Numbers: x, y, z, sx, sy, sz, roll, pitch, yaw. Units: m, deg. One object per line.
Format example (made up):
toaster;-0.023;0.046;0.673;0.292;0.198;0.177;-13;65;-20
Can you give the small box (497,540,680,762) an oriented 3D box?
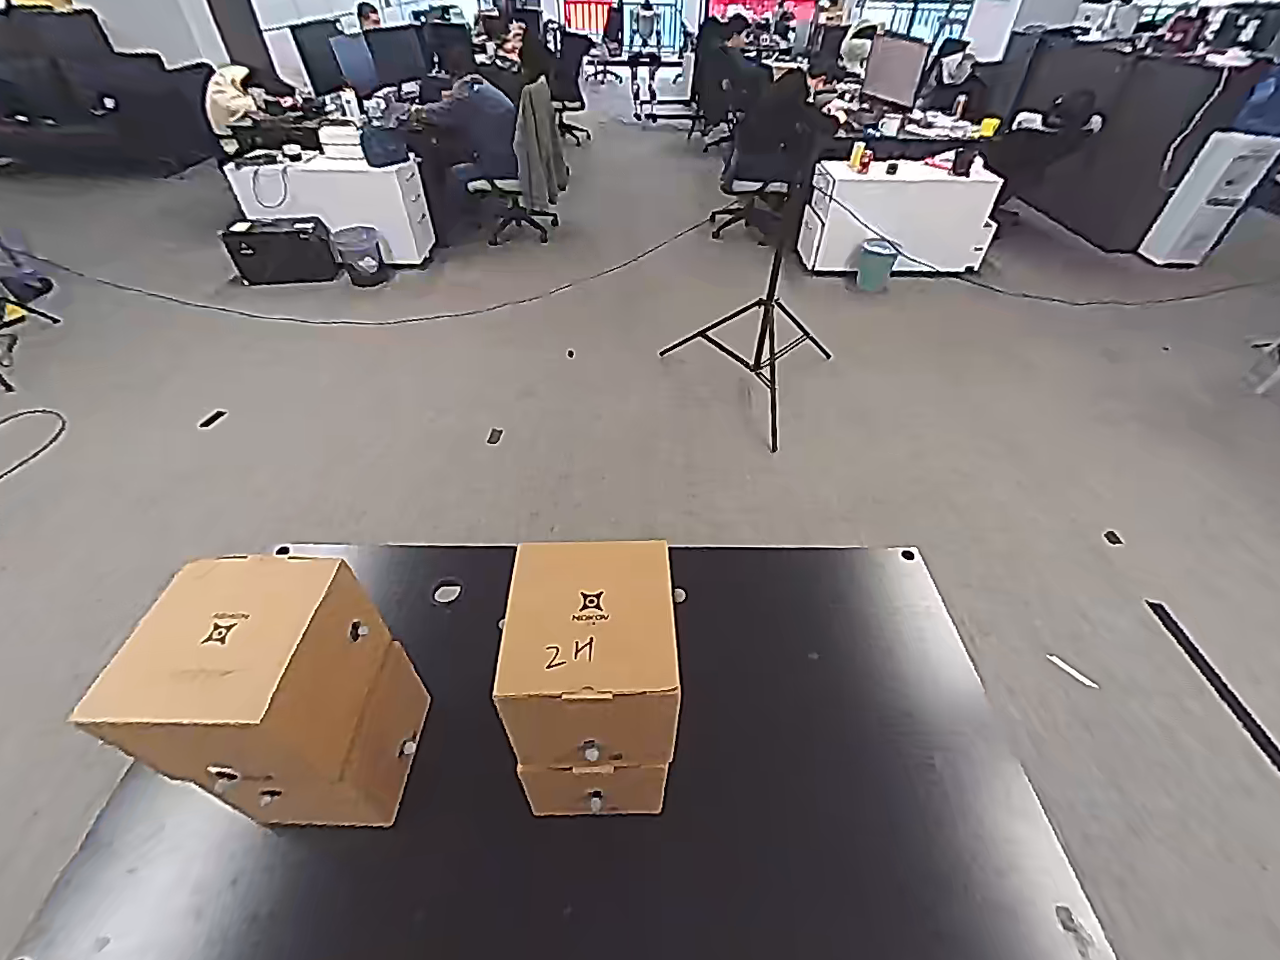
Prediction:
small box;-0.049;0.185;0.593;0.168;0.176;0.179;-1;43;-1

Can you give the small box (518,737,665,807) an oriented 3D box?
small box;-0.054;0.309;0.703;0.168;0.176;0.179;-1;44;-2

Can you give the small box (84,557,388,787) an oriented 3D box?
small box;-0.391;0.201;0.572;0.168;0.176;0.179;-1;44;0

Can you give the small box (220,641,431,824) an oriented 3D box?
small box;-0.391;0.318;0.685;0.179;0.176;0.168;2;43;0
